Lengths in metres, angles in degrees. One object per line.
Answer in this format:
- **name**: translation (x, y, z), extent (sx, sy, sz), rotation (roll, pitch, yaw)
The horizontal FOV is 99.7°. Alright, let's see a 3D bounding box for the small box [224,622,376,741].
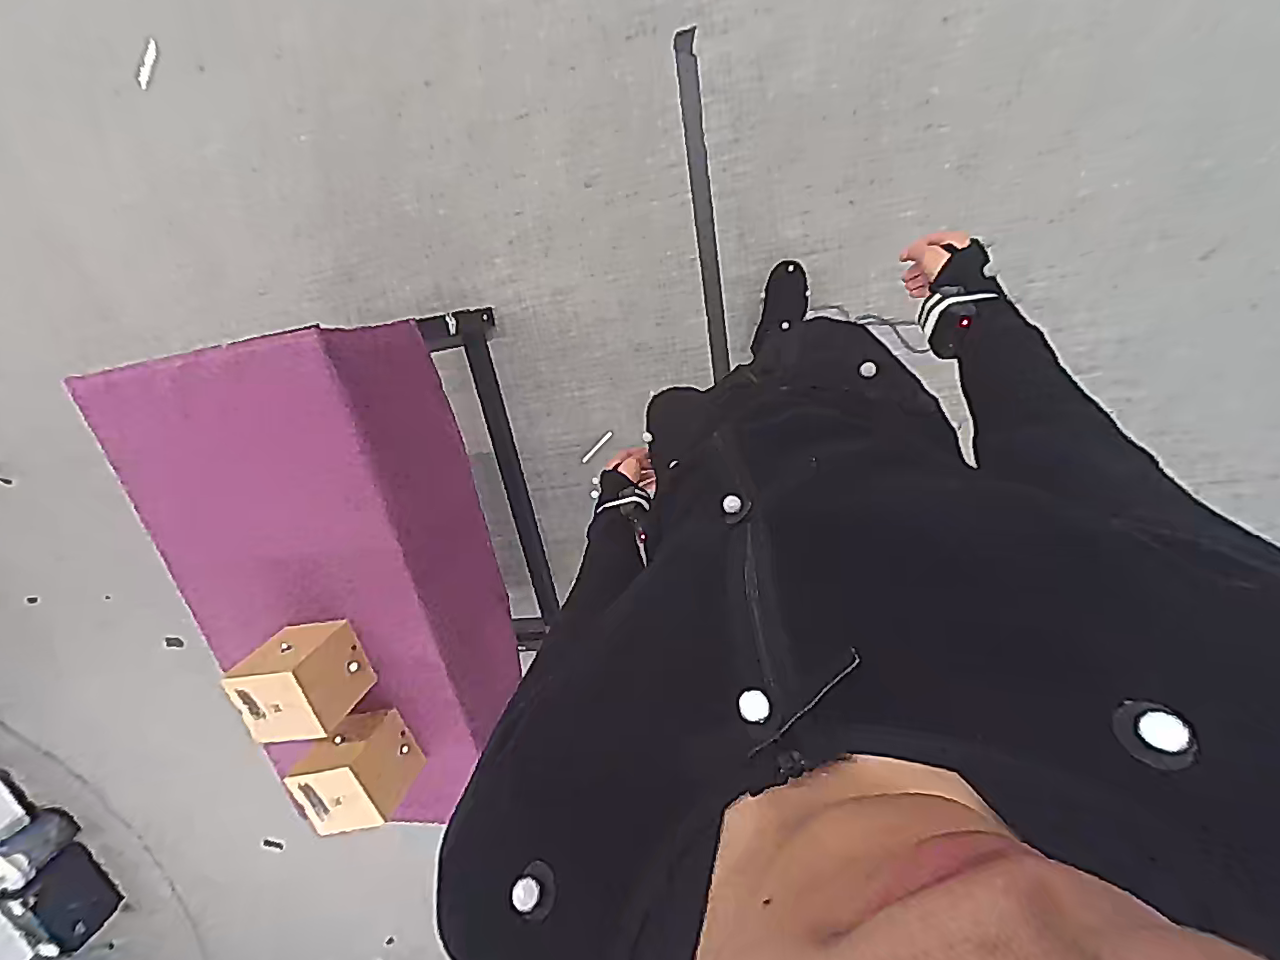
- **small box**: translation (-0.703, 0.419, 1.137), extent (0.179, 0.176, 0.168), rotation (-10, 109, 14)
